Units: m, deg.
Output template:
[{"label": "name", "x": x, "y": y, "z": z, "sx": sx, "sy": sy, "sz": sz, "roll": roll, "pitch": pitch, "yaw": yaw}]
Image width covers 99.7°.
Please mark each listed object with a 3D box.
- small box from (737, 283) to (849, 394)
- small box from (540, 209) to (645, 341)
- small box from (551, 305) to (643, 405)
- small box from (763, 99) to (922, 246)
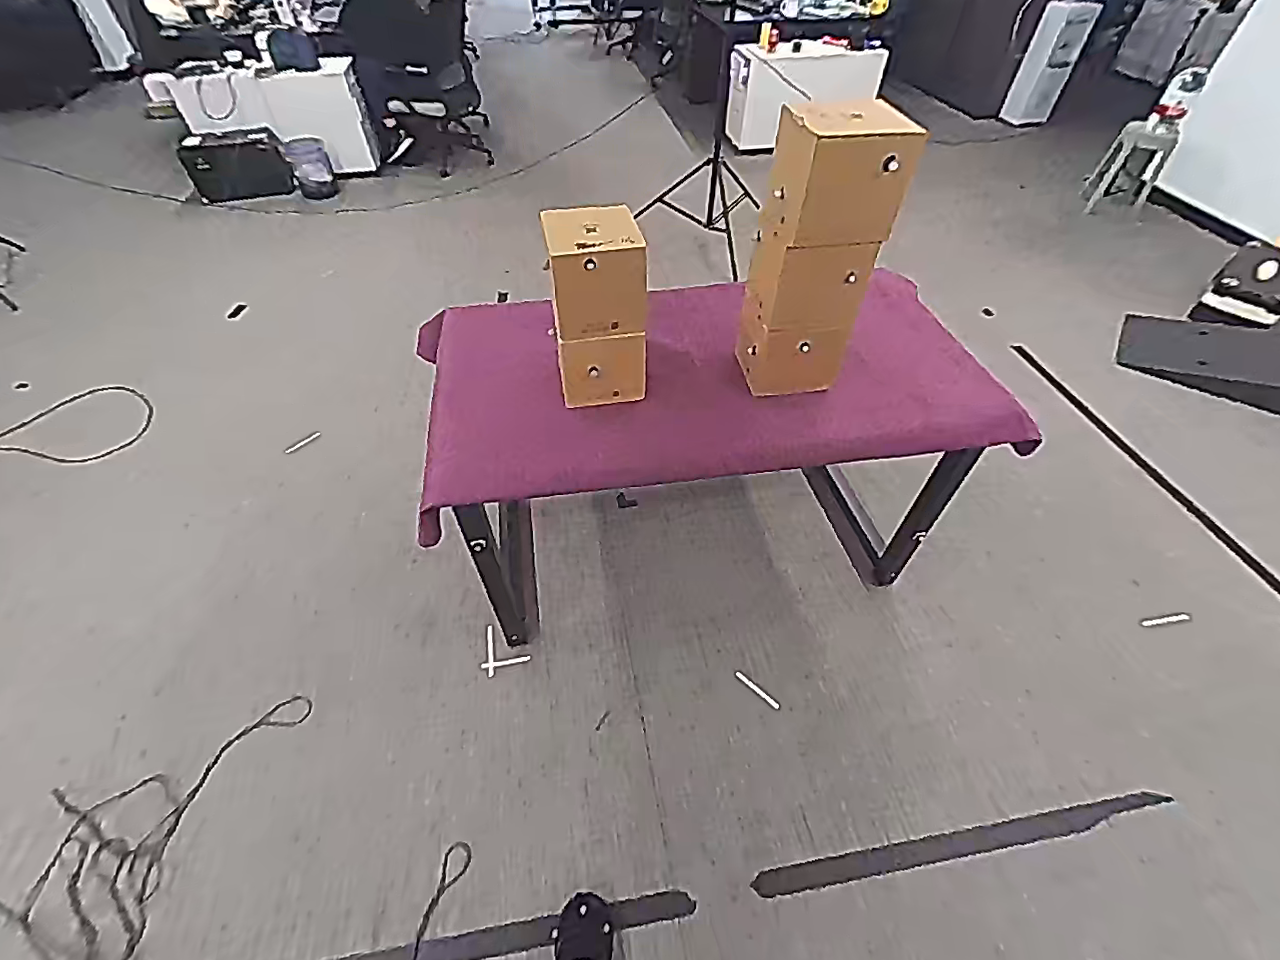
[{"label": "small box", "x": 0.313, "y": -0.299, "z": 1.158, "sx": 0.179, "sy": 0.176, "sz": 0.168, "roll": -6, "pitch": 50, "yaw": -6}, {"label": "small box", "x": -0.089, "y": -0.385, "z": 1.014, "sx": 0.168, "sy": 0.176, "sz": 0.179, "roll": -10, "pitch": 48, "yaw": -8}, {"label": "small box", "x": -0.089, "y": -0.271, "z": 1.133, "sx": 0.168, "sy": 0.176, "sz": 0.179, "roll": -9, "pitch": 49, "yaw": -7}, {"label": "small box", "x": 0.325, "y": -0.514, "z": 0.908, "sx": 0.179, "sy": 0.176, "sz": 0.168, "roll": -7, "pitch": 49, "yaw": -6}]
